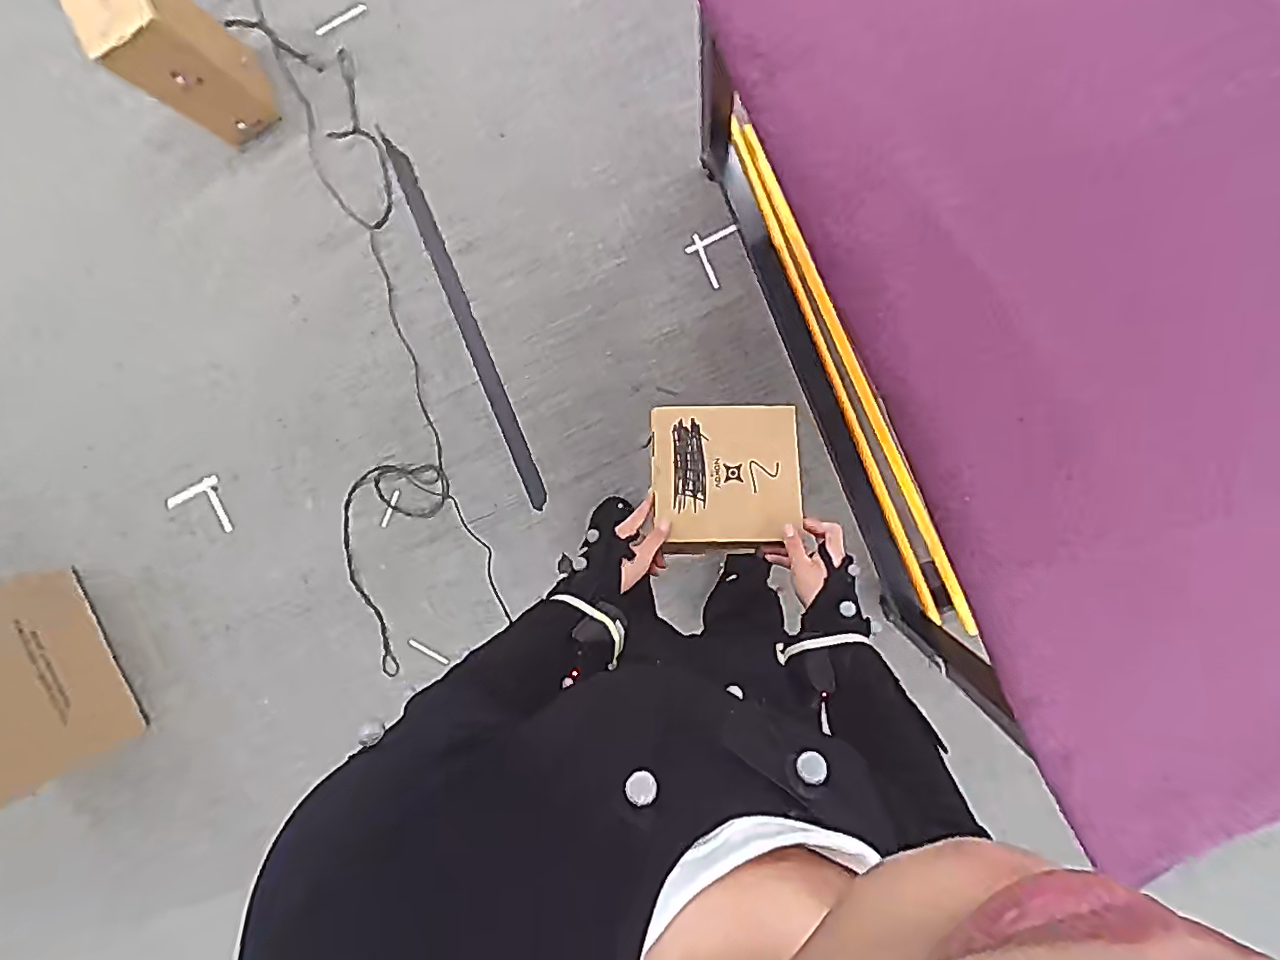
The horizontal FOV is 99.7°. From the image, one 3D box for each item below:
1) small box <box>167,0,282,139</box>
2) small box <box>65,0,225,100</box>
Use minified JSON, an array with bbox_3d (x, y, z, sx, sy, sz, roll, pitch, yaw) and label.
[{"bbox_3d":[-1.009,-0.965,1.285,0.168,0.176,0.179,-23,93,8],"label":"small box"},{"bbox_3d":[-1.026,-0.951,1.122,0.168,0.176,0.179,-24,92,8],"label":"small box"}]
